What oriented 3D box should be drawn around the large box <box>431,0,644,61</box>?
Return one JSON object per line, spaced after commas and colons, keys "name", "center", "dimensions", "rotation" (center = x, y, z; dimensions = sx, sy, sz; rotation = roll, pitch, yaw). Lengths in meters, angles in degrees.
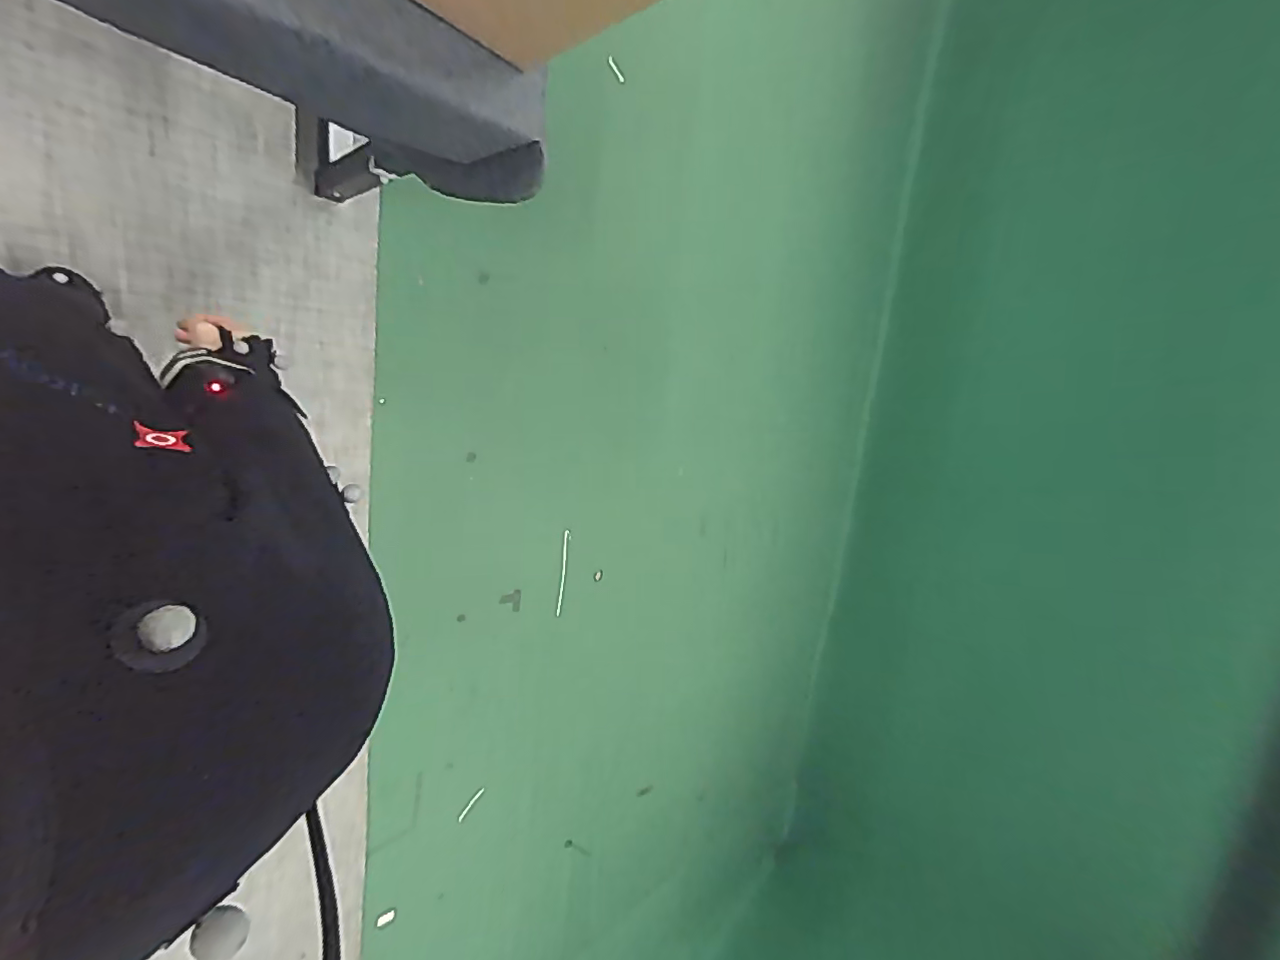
{"name": "large box", "center": [-0.150, -0.647, 0.430], "dimensions": [0.408, 0.320, 0.320], "rotation": [-2, 103, -48]}
